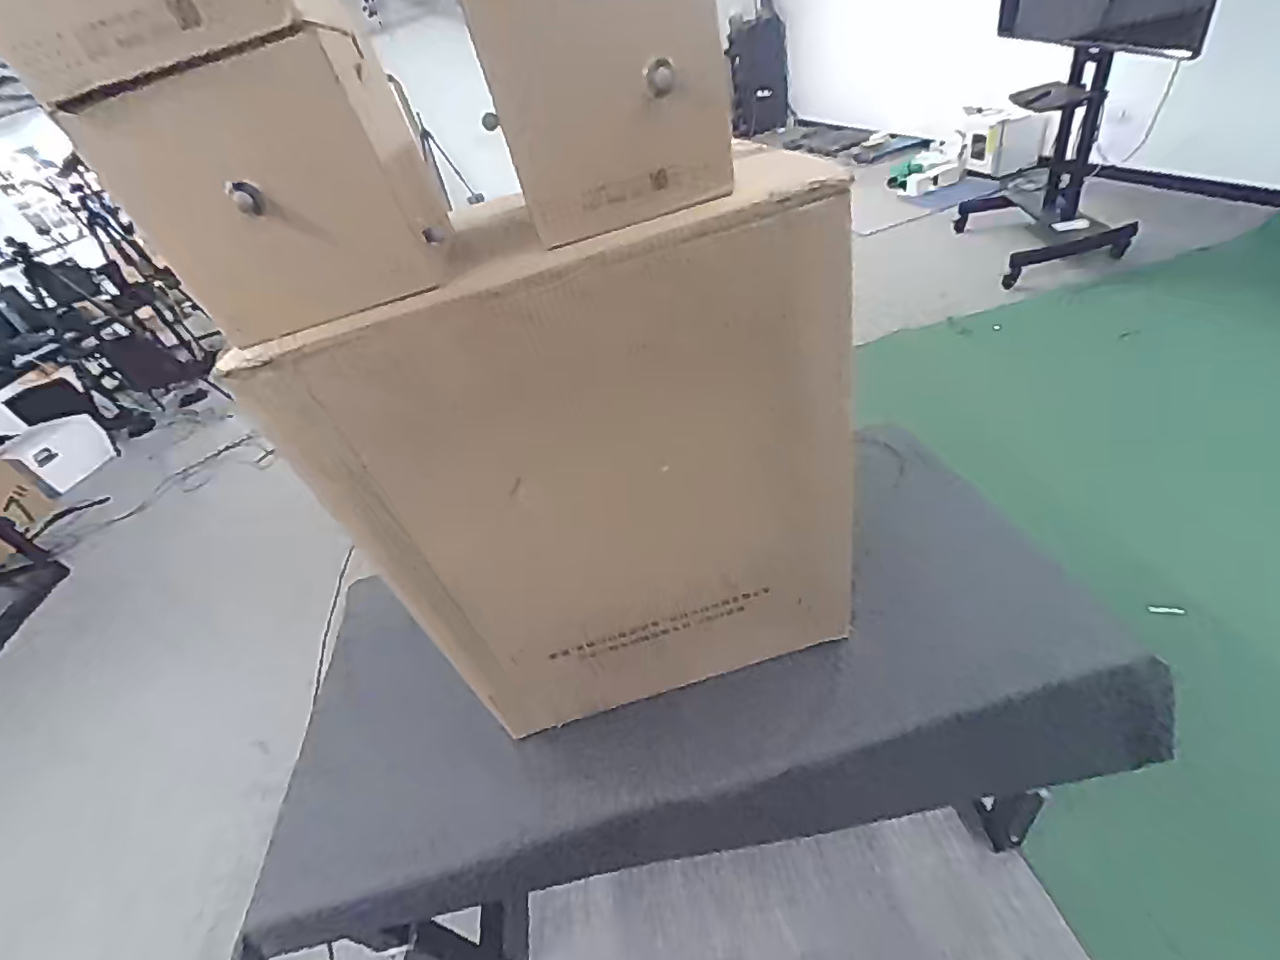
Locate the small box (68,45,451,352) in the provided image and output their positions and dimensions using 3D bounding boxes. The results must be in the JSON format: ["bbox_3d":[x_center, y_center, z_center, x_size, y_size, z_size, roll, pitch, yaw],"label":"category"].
[{"bbox_3d":[-0.272,-0.233,0.447,0.179,0.176,0.168,-18,40,-3],"label":"small box"}]

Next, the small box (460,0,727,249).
[{"bbox_3d":[-0.034,-0.313,0.456,0.168,0.176,0.179,-16,39,0],"label":"small box"}]

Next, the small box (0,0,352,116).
[{"bbox_3d":[-0.315,-0.351,0.344,0.168,0.176,0.179,-19,40,-1],"label":"small box"}]
